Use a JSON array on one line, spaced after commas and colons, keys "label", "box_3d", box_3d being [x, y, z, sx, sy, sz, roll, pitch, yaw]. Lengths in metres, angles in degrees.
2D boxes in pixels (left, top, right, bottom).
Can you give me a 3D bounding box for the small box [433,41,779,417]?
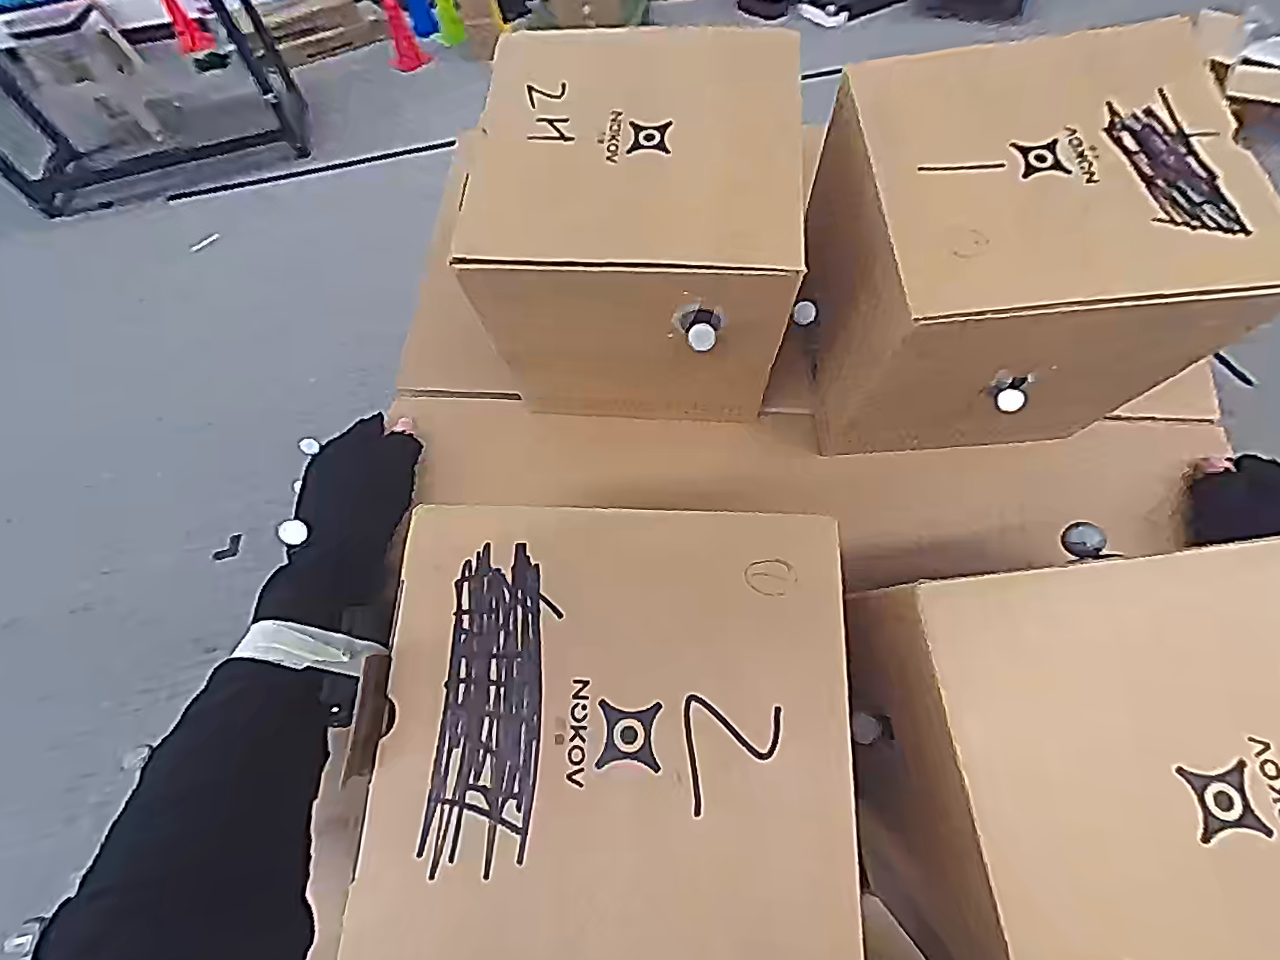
[{"label": "small box", "box_3d": [-0.008, -0.153, 0.370, 0.179, 0.176, 0.168, 3, 71, 5]}]
